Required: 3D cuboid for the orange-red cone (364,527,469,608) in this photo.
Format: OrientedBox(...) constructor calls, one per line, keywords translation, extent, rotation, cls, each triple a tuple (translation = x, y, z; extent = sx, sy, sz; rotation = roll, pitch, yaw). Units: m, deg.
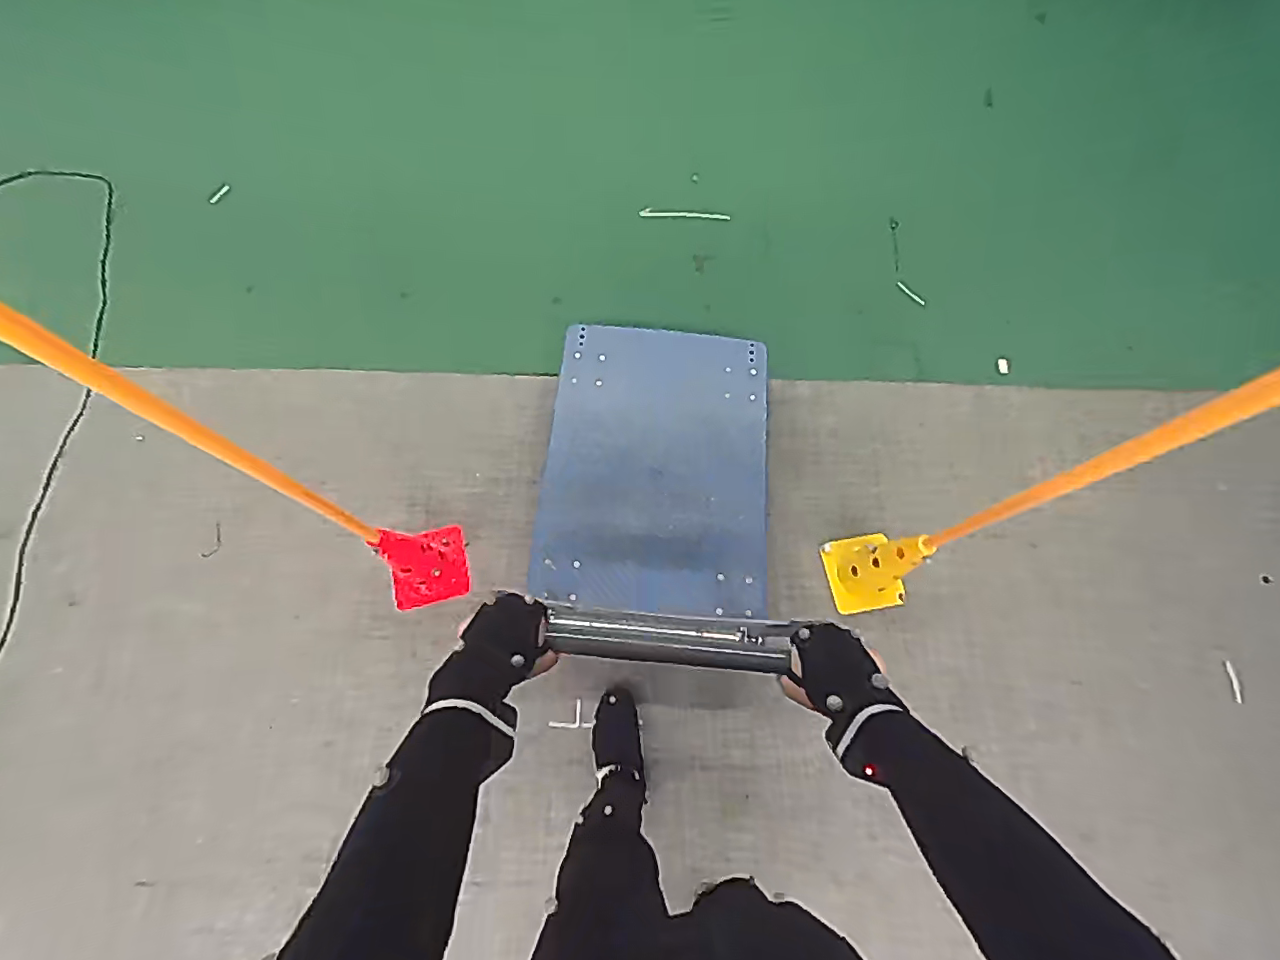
OrientedBox(translation=(-0.565, 0.177, 1.295), extent=(0.199, 0.360, 0.198), rotation=(-13, 71, -5), cls="orange-red cone")
